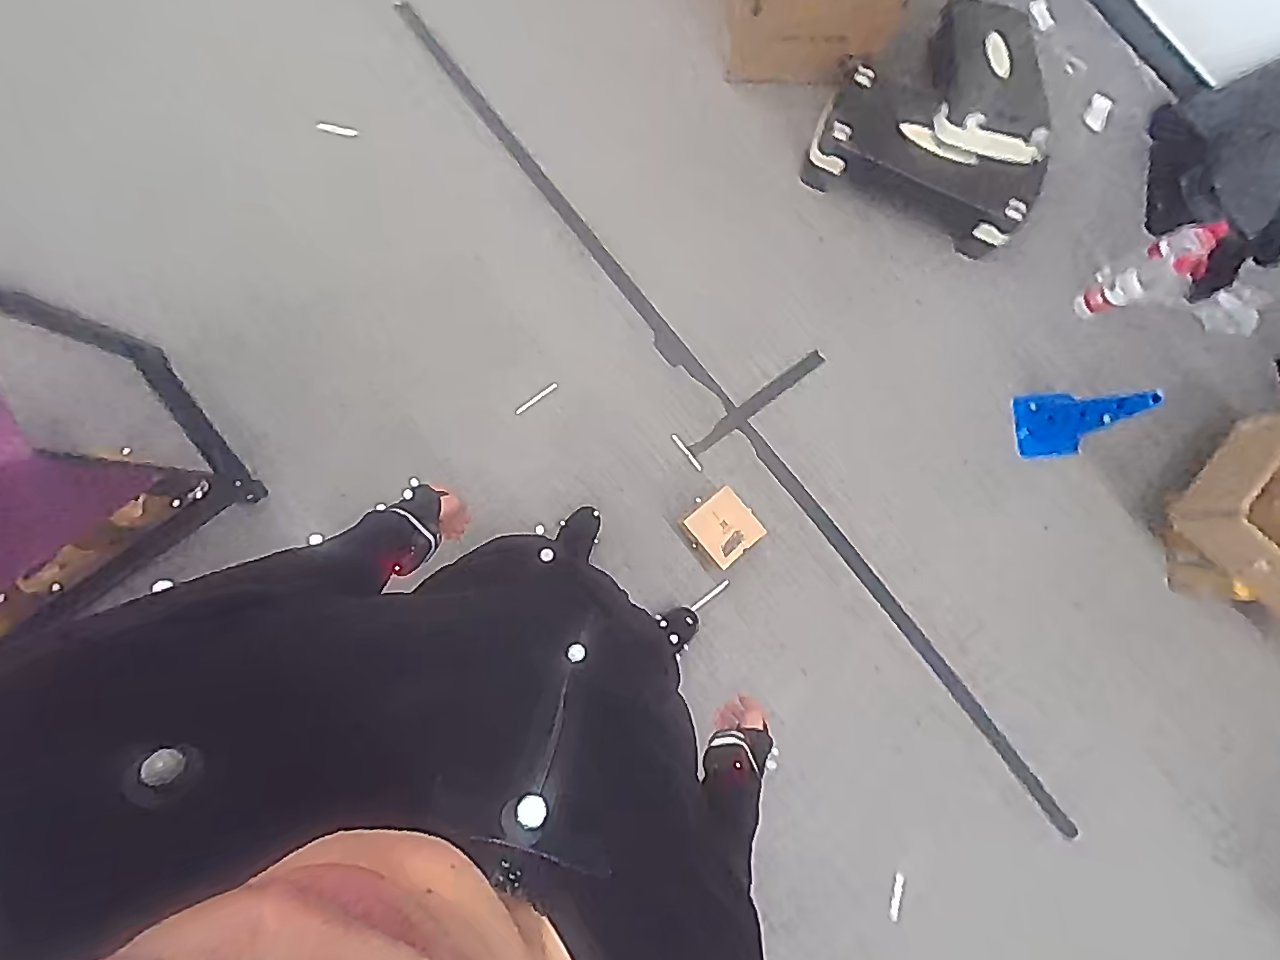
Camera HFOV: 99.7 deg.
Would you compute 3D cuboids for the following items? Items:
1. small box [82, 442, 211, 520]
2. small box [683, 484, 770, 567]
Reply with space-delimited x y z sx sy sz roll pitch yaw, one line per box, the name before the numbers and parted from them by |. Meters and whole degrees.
small box | -1.392 0.011 1.537 0.179 0.176 0.168 24 85 1
small box | 0.244 0.129 1.573 0.168 0.176 0.179 -39 87 -4
